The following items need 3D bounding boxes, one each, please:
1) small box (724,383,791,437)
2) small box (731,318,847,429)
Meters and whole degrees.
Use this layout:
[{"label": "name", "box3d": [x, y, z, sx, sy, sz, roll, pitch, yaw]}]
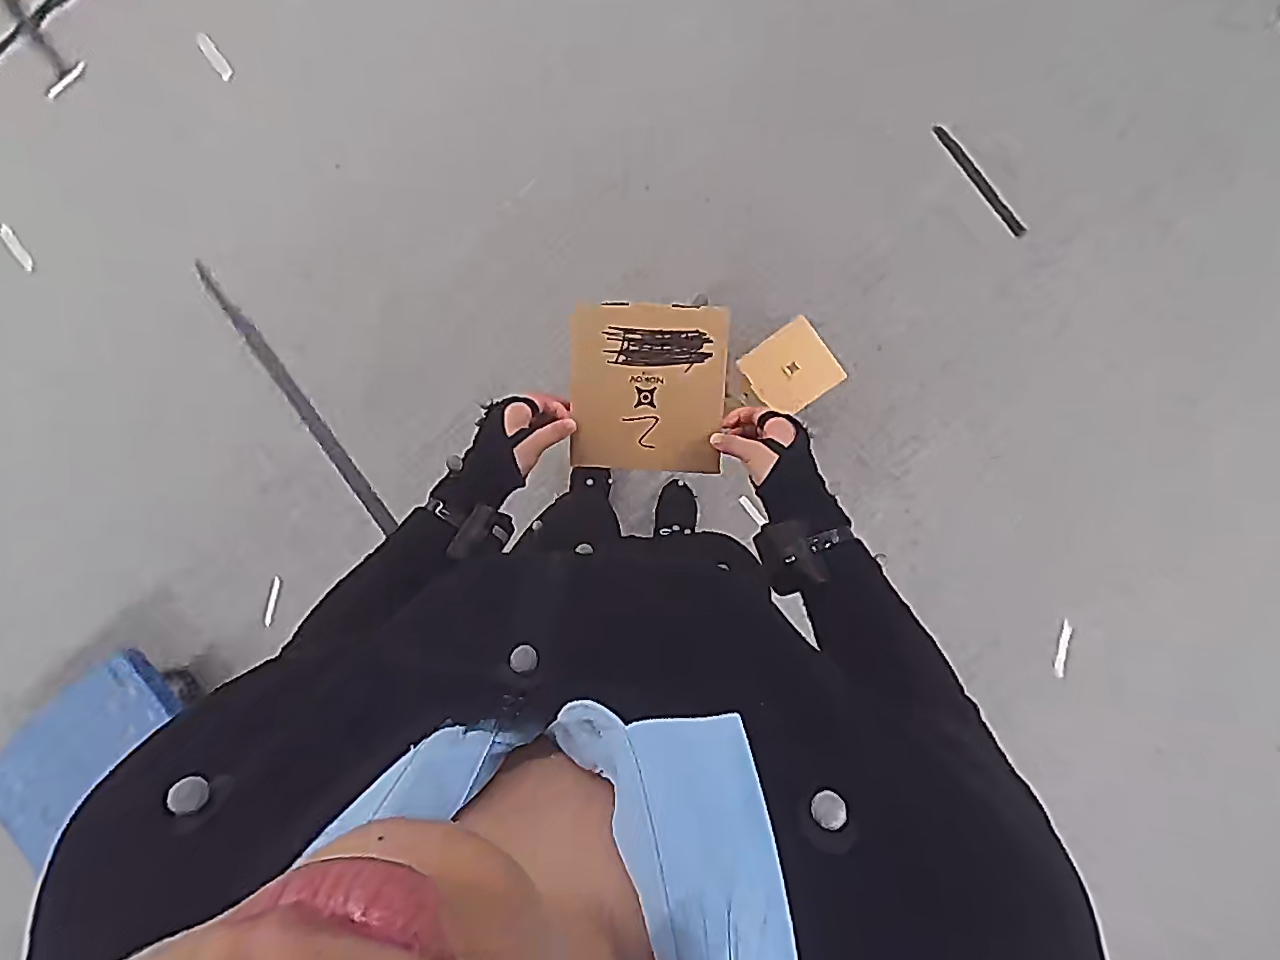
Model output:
[{"label": "small box", "box3d": [0.332, -0.228, 1.381, 0.168, 0.176, 0.179, 42, 93, 2]}, {"label": "small box", "box3d": [0.325, -0.232, 1.218, 0.179, 0.176, 0.168, -36, 90, 4]}]
